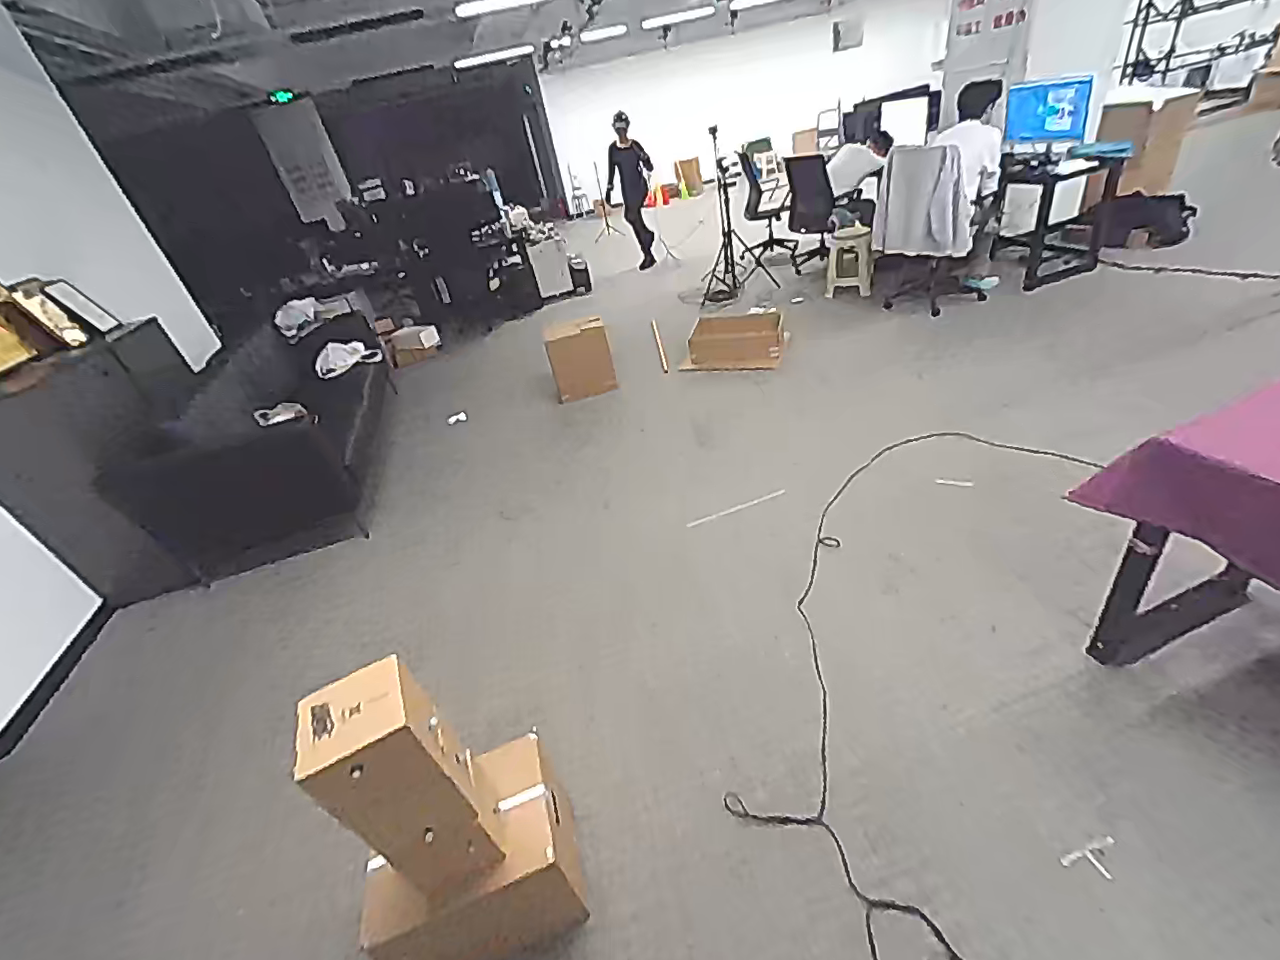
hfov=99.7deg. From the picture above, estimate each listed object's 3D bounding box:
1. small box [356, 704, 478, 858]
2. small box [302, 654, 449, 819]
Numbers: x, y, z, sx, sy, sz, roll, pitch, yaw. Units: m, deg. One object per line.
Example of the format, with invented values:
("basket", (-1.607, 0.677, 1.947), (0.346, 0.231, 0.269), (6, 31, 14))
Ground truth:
("small box", (-0.433, 0.588, 1.060), (0.179, 0.176, 0.168), (-24, 36, -15))
("small box", (-0.467, 0.457, 0.964), (0.179, 0.176, 0.168), (-25, 37, -16))
